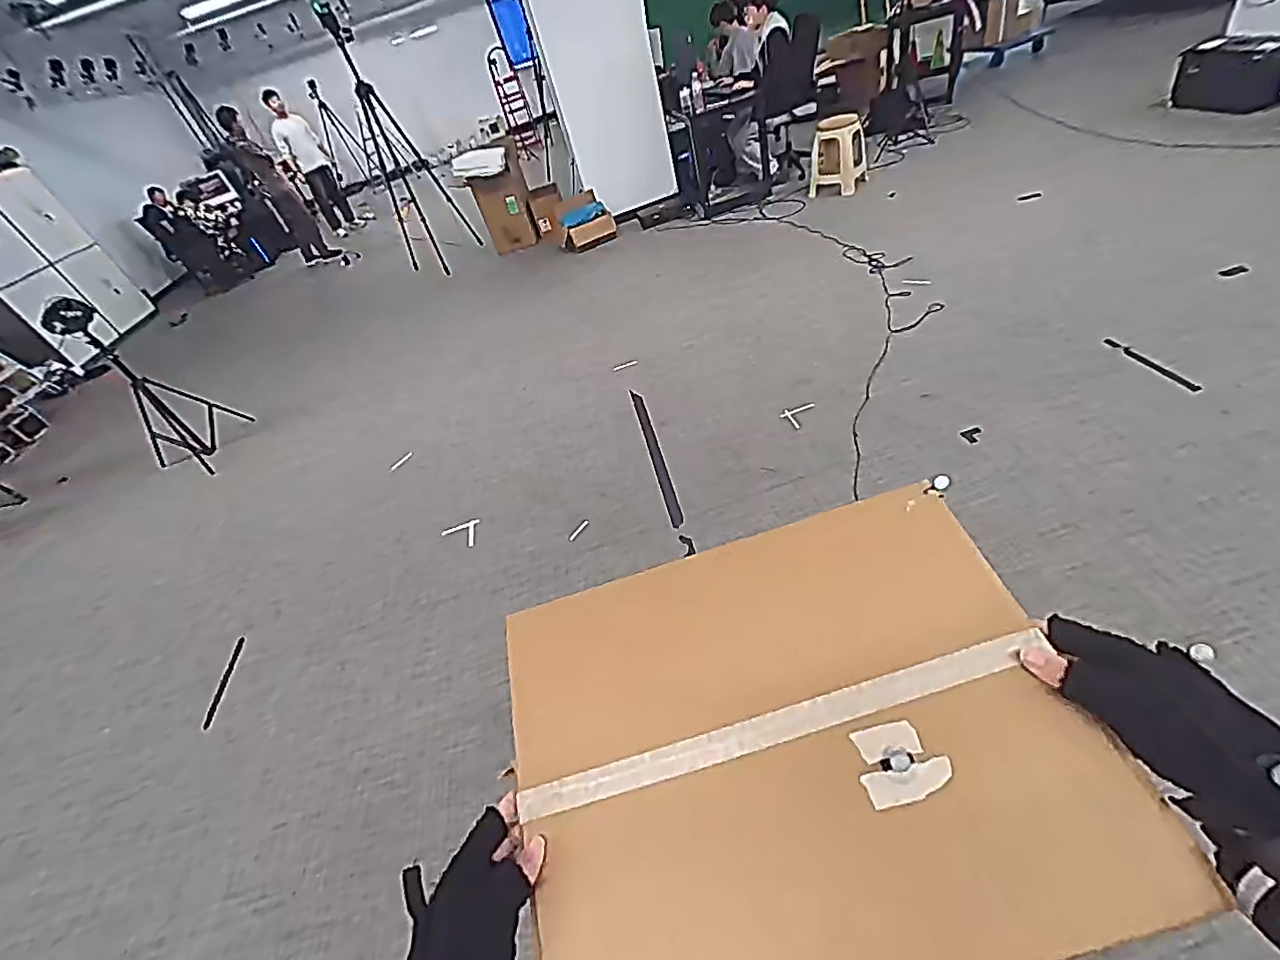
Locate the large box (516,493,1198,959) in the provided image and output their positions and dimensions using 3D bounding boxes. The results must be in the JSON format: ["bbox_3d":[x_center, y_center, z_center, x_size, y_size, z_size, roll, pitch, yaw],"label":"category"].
[{"bbox_3d":[0.138,0.276,0.527,0.408,0.320,0.320,-19,53,1],"label":"large box"}]
